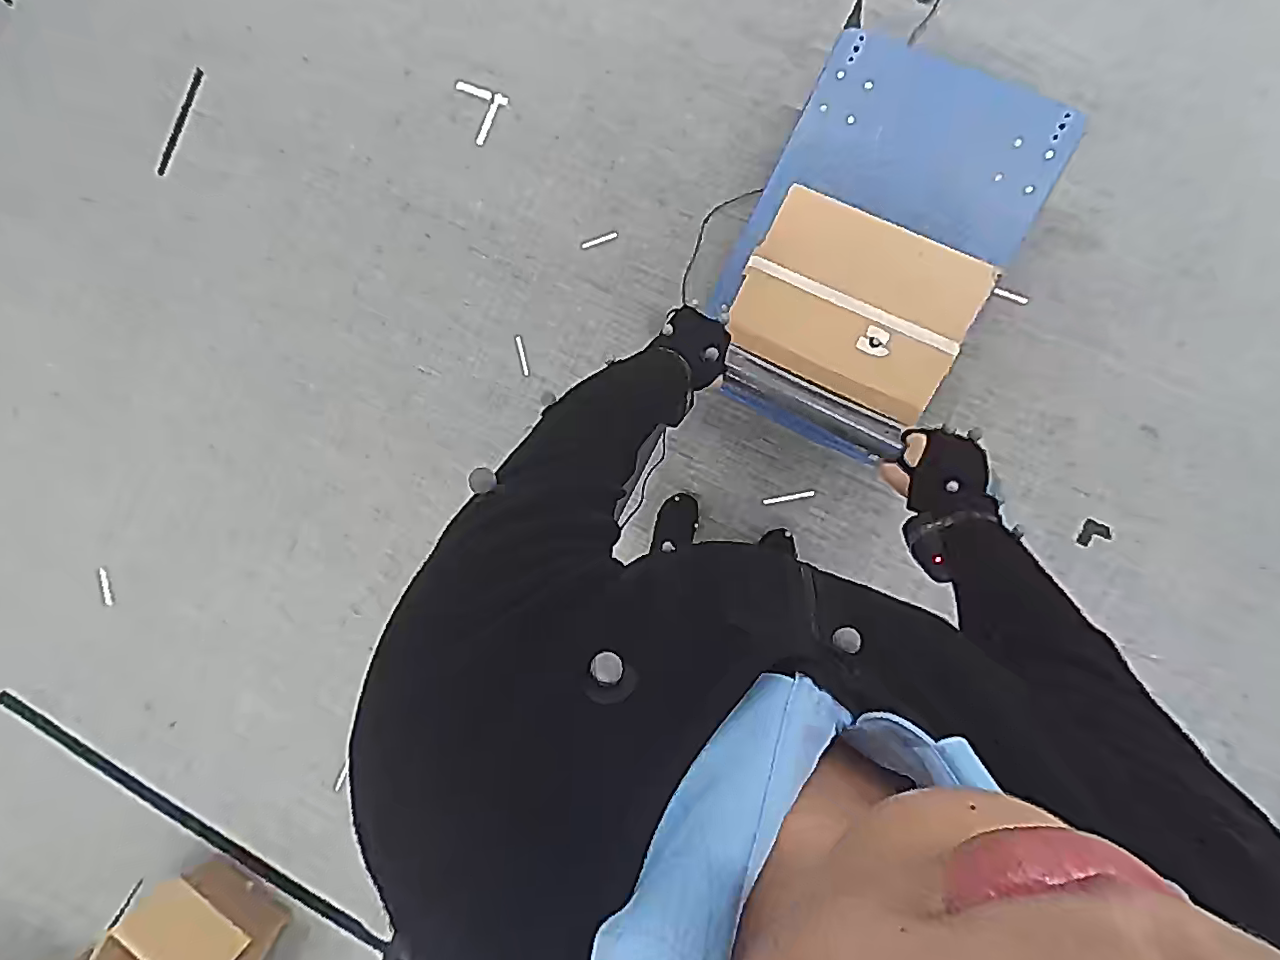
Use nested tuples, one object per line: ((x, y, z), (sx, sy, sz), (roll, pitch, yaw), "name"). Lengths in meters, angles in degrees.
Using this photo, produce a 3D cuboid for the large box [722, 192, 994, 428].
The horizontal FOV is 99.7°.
((0.421, -0.335, 1.158), (0.408, 0.320, 0.320), (27, 99, 7), "large box")
